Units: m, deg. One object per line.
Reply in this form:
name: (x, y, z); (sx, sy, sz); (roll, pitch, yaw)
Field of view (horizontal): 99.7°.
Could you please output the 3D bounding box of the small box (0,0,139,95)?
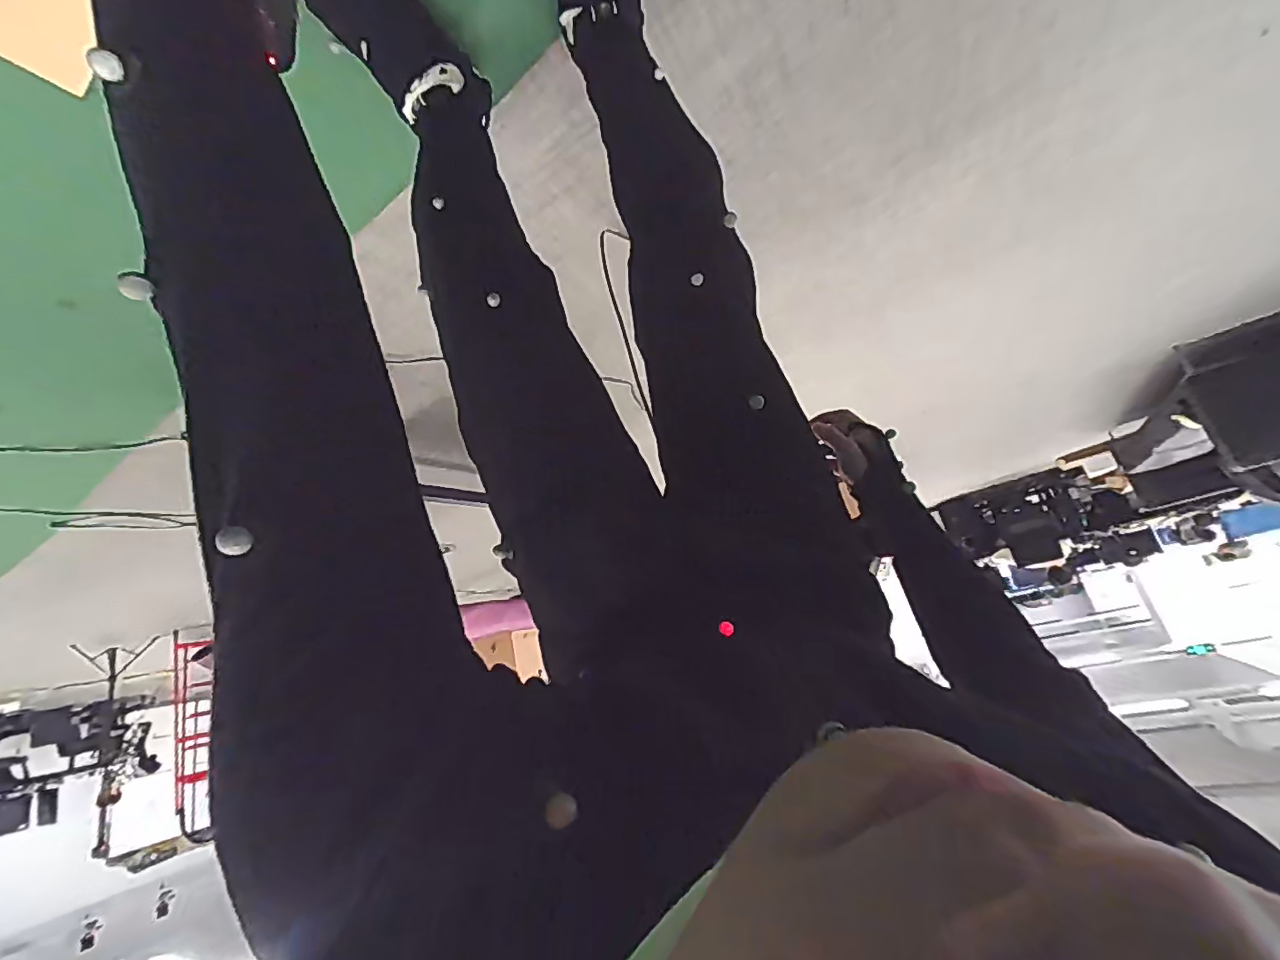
small box: (-0.622, -0.549, 0.529); (0.168, 0.176, 0.179); (-23, 159, 30)
